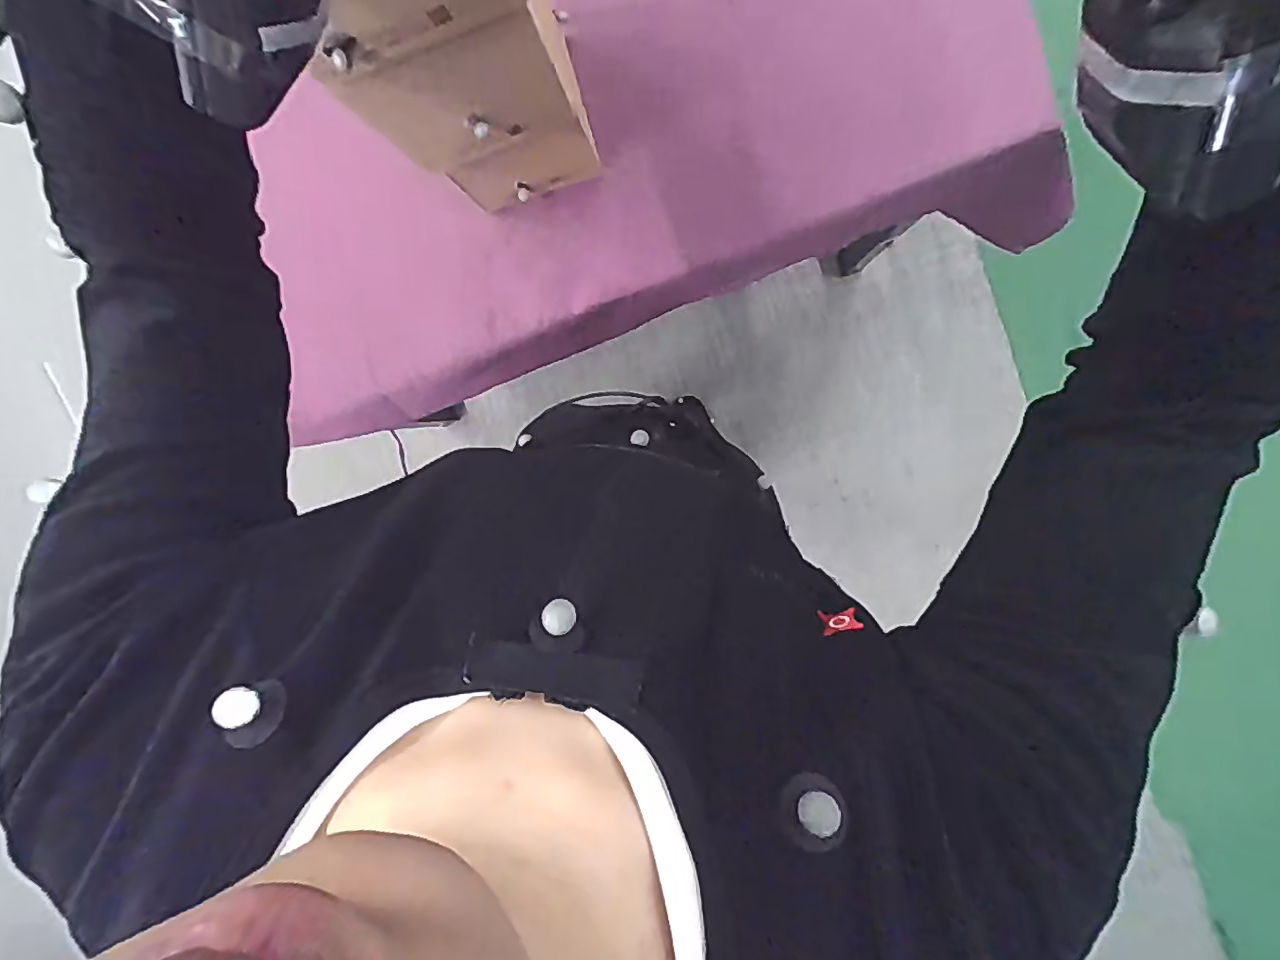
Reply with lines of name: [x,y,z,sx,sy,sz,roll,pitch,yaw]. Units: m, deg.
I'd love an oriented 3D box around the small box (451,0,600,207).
small box: [-0.157,-0.452,0.622,0.168,0.176,0.179,-15,96,8]

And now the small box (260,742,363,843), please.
small box: [-0.967,0.925,1.610,0.168,0.176,0.179,-21,95,8]

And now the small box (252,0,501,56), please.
small box: [-0.184,-0.387,0.300,0.168,0.176,0.179,-16,94,8]

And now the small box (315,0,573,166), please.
small box: [-0.173,-0.415,0.462,0.168,0.176,0.179,-17,95,9]
